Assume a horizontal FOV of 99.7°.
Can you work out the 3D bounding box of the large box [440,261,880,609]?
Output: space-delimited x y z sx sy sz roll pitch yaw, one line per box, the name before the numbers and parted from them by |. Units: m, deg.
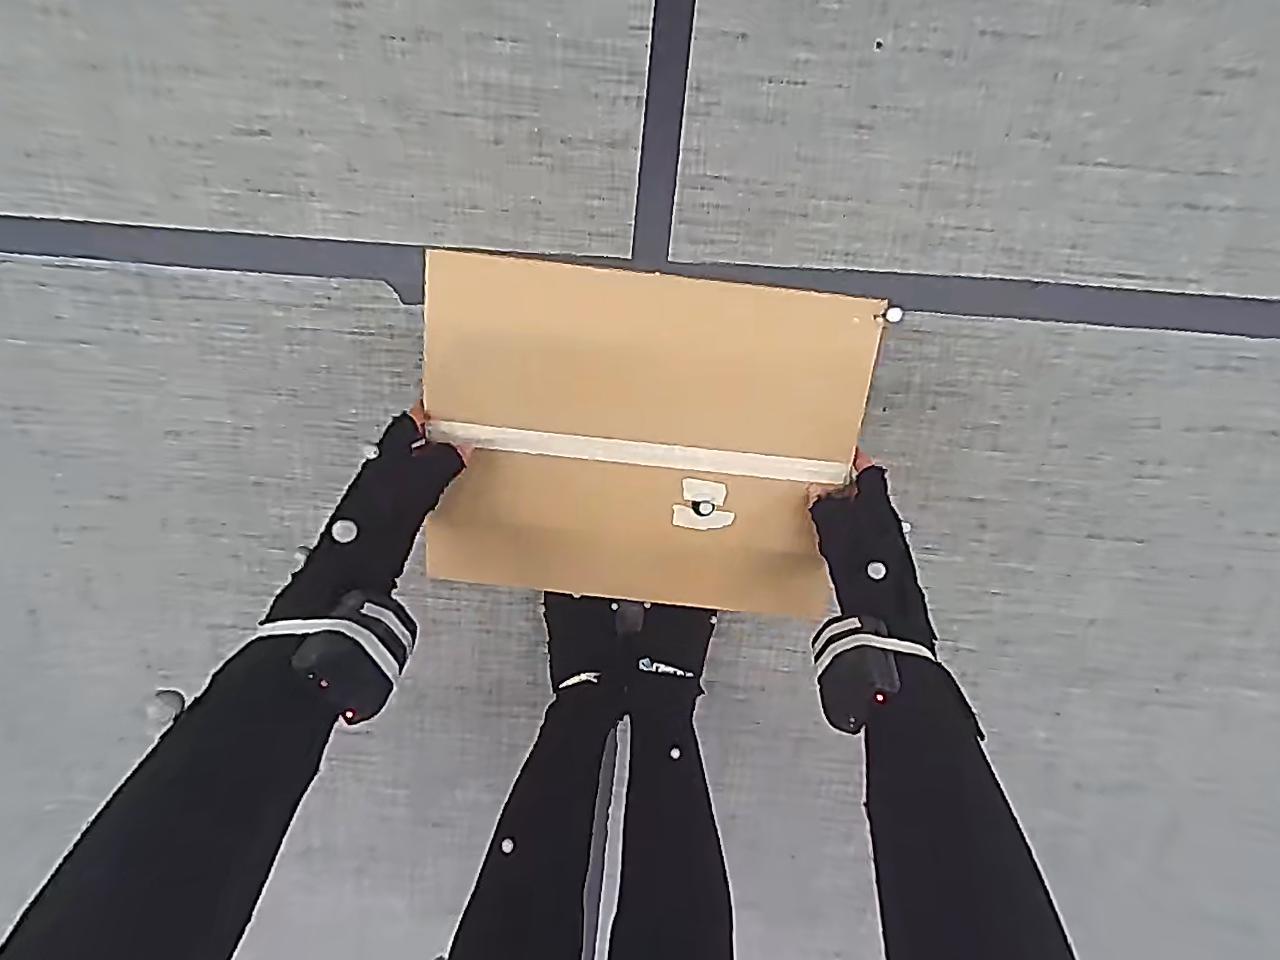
large box | 0.005 -0.066 0.664 0.408 0.320 0.320 6 106 -1
